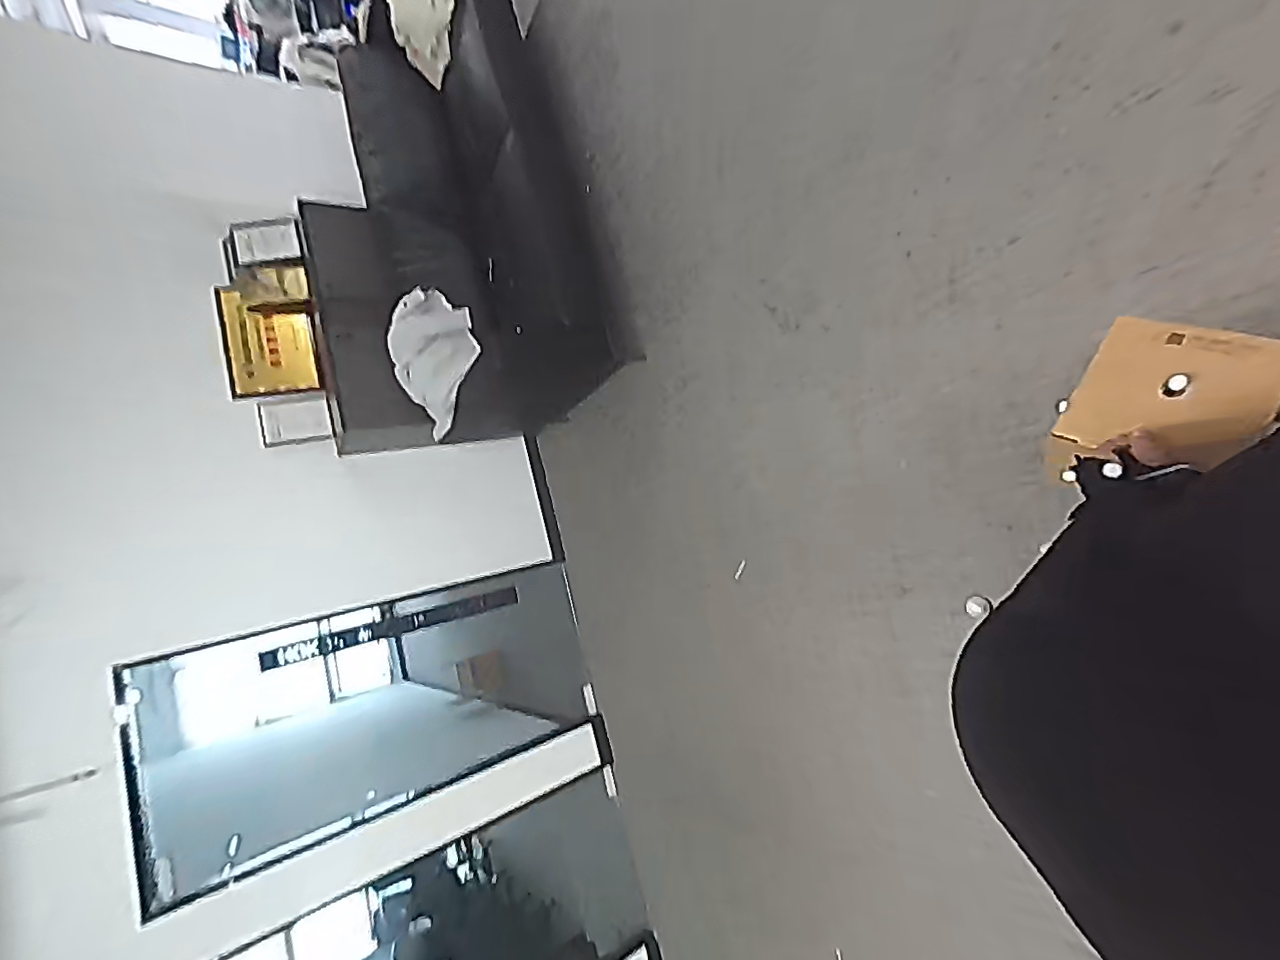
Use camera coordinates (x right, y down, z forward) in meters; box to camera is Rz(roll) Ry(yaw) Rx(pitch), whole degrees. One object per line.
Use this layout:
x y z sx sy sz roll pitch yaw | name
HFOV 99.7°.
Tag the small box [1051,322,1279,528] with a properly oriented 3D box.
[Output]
0.642 -0.069 0.664 0.168 0.179 0.176 28 87 40 | small box
